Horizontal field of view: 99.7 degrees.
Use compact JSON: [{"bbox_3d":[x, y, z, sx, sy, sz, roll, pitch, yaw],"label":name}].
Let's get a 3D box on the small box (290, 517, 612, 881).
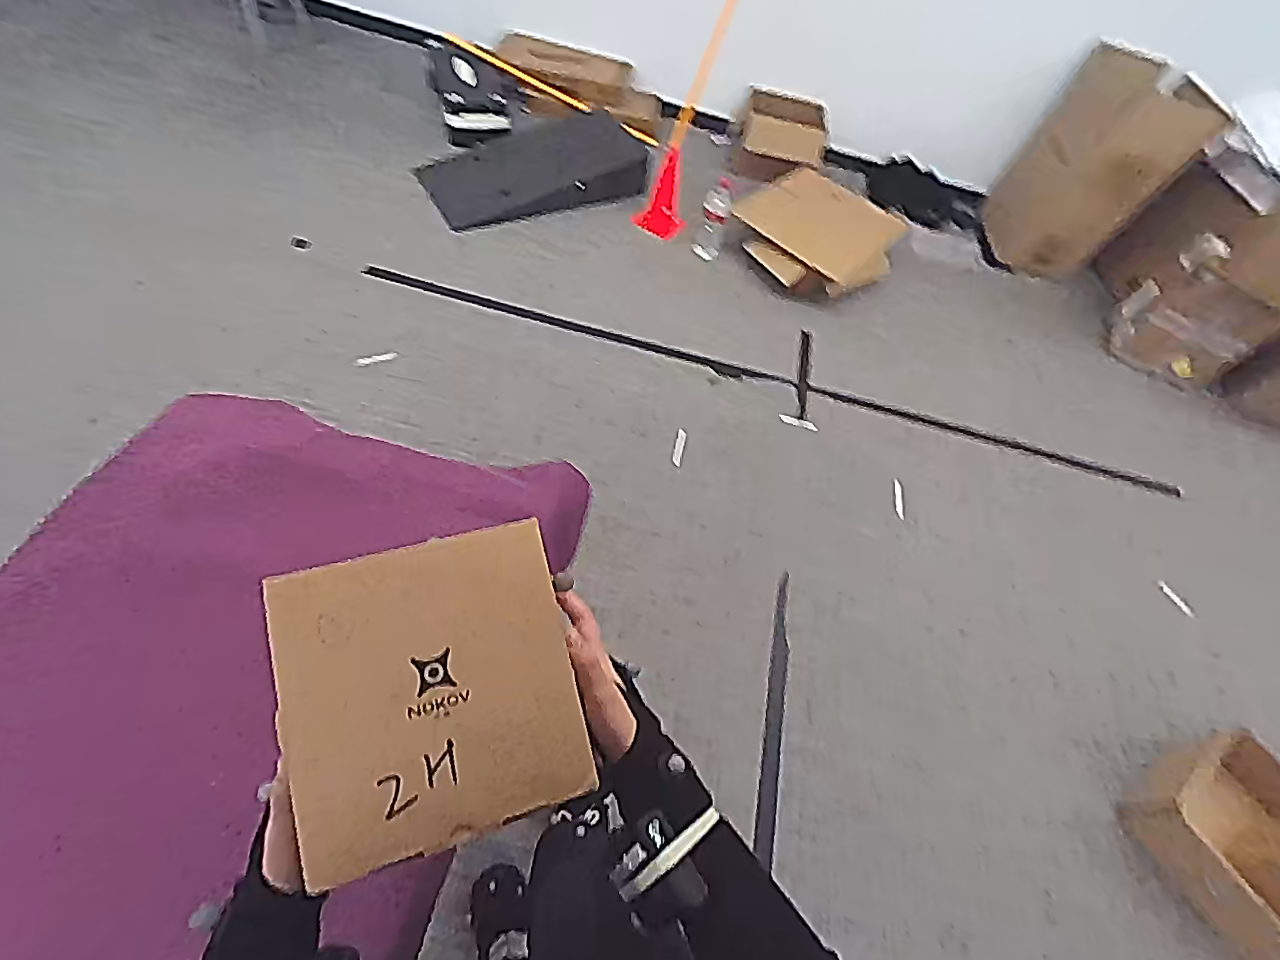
[{"bbox_3d":[-0.130,0.140,0.403,0.168,0.176,0.179,-12,80,-14],"label":"small box"}]
